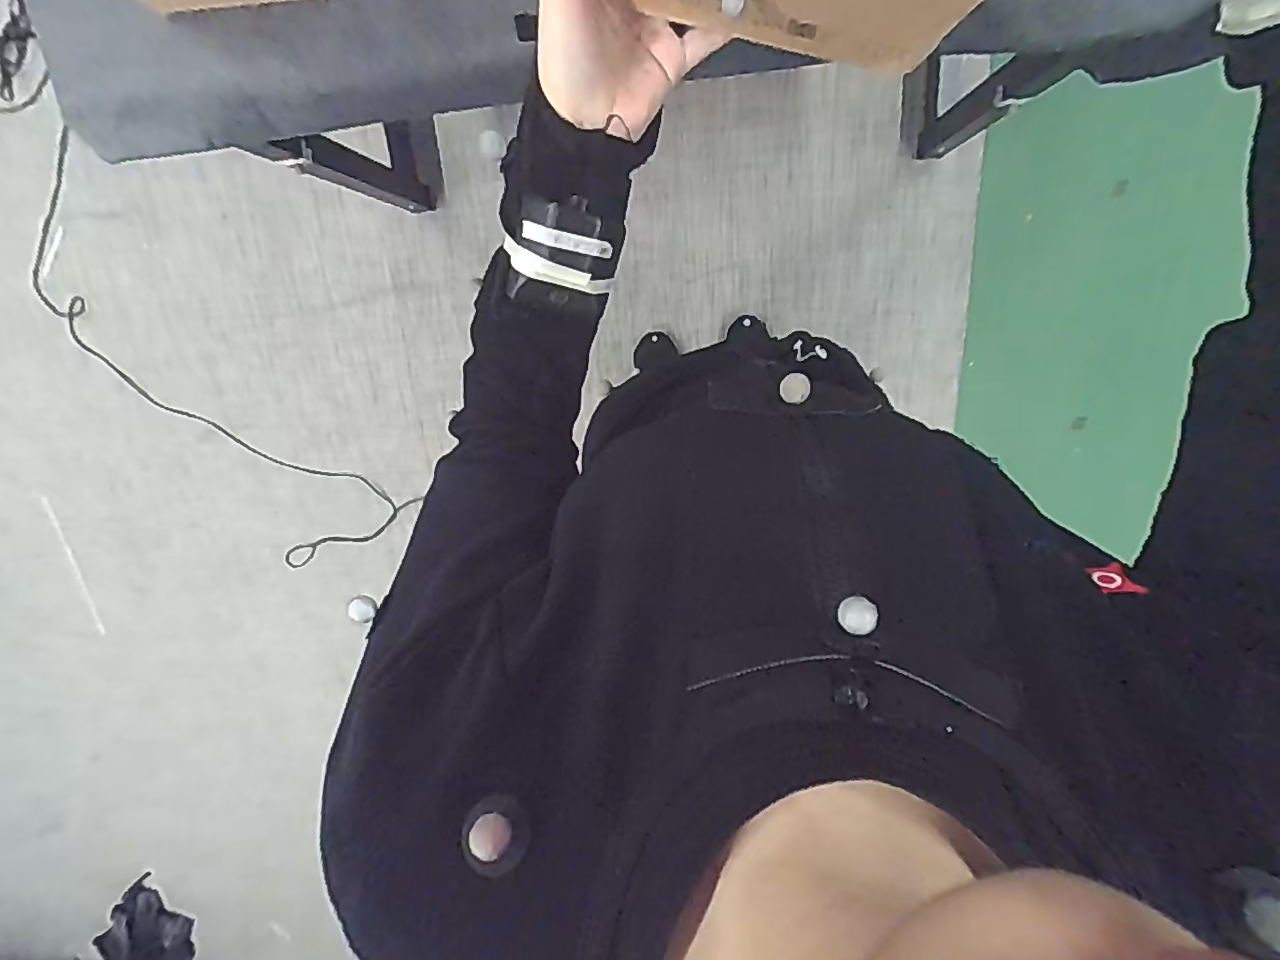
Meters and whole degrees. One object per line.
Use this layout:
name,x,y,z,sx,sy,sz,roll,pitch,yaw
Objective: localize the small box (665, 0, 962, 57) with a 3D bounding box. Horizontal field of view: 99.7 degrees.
small box,0.073,-0.287,0.177,0.168,0.176,0.179,15,113,0
